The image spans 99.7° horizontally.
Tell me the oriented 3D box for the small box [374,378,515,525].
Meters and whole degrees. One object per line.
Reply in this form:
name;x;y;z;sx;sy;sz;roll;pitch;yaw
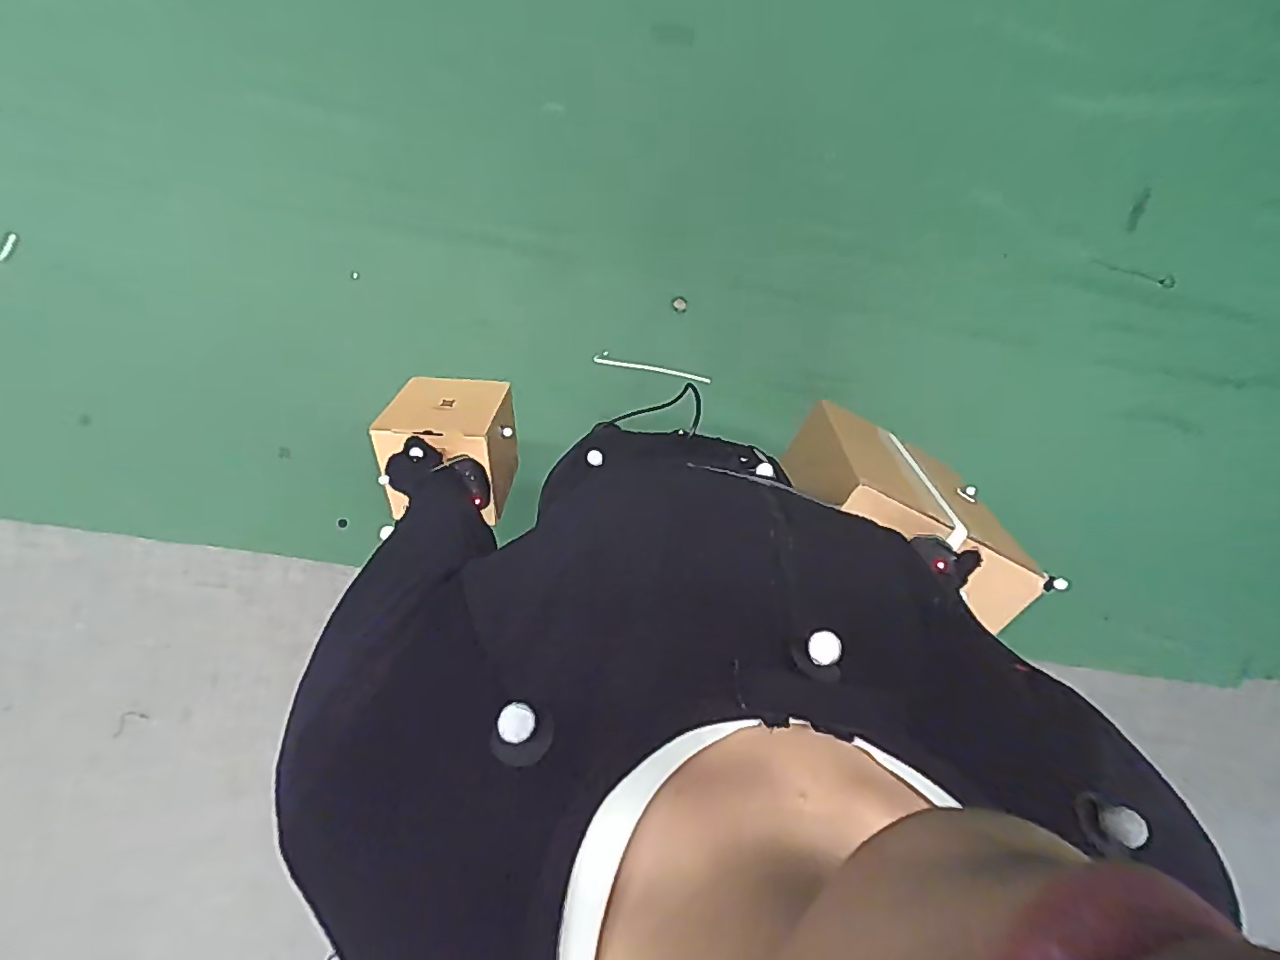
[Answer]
small box;-0.304;-0.049;0.886;0.168;0.179;0.176;3;127;-1
